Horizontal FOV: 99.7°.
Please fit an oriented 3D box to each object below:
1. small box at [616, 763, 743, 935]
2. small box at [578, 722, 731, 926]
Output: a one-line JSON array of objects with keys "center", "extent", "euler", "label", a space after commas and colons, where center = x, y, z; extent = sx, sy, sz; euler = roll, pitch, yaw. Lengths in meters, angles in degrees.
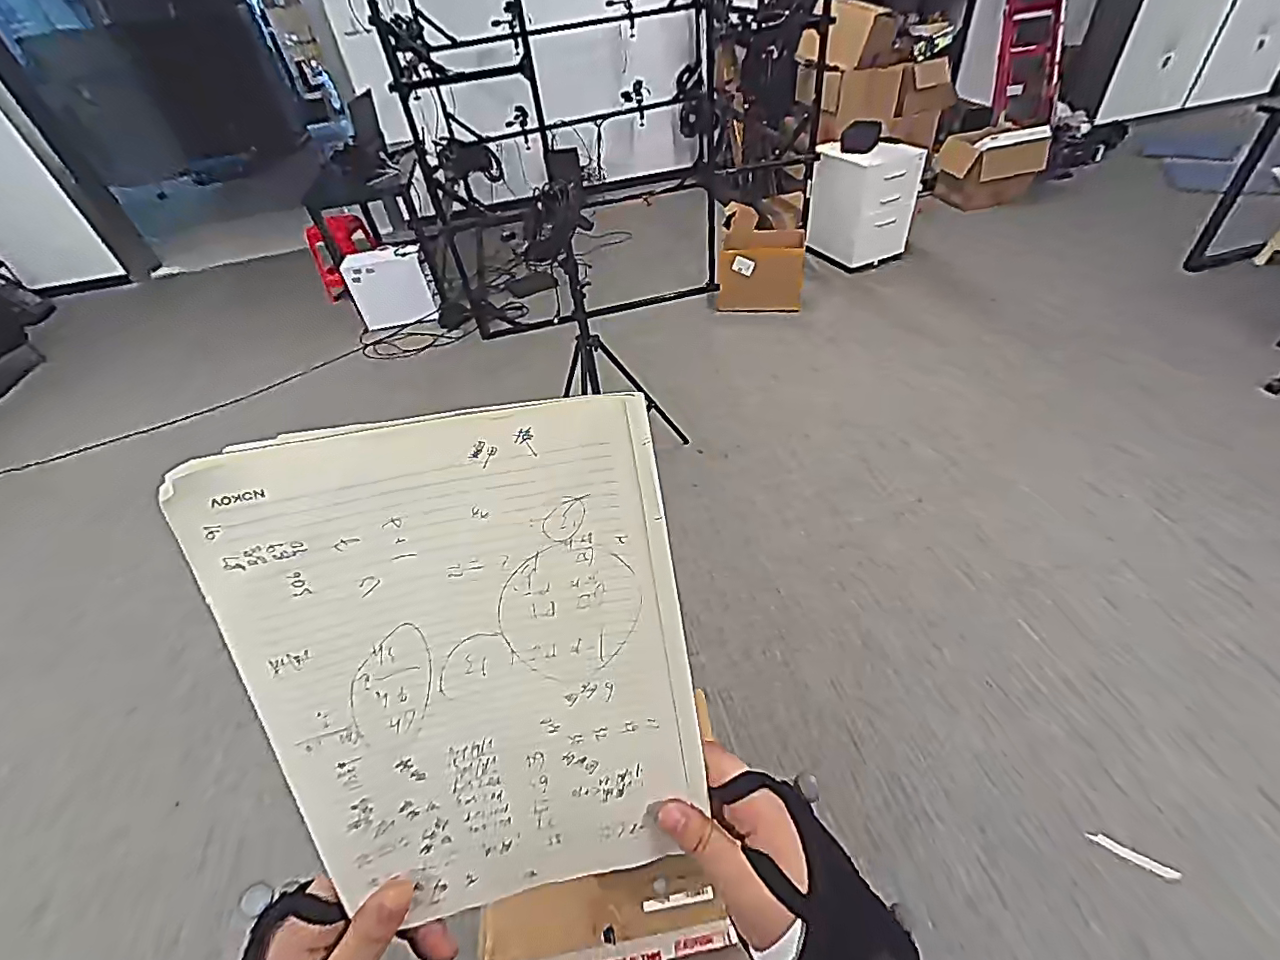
[{"center": [0.041, 0.550, 0.807], "extent": [0.179, 0.176, 0.168], "euler": [-10, 44, -5], "label": "small box"}, {"center": [0.012, 0.437, 0.689], "extent": [0.168, 0.176, 0.179], "euler": [-7, 45, -2], "label": "small box"}]
